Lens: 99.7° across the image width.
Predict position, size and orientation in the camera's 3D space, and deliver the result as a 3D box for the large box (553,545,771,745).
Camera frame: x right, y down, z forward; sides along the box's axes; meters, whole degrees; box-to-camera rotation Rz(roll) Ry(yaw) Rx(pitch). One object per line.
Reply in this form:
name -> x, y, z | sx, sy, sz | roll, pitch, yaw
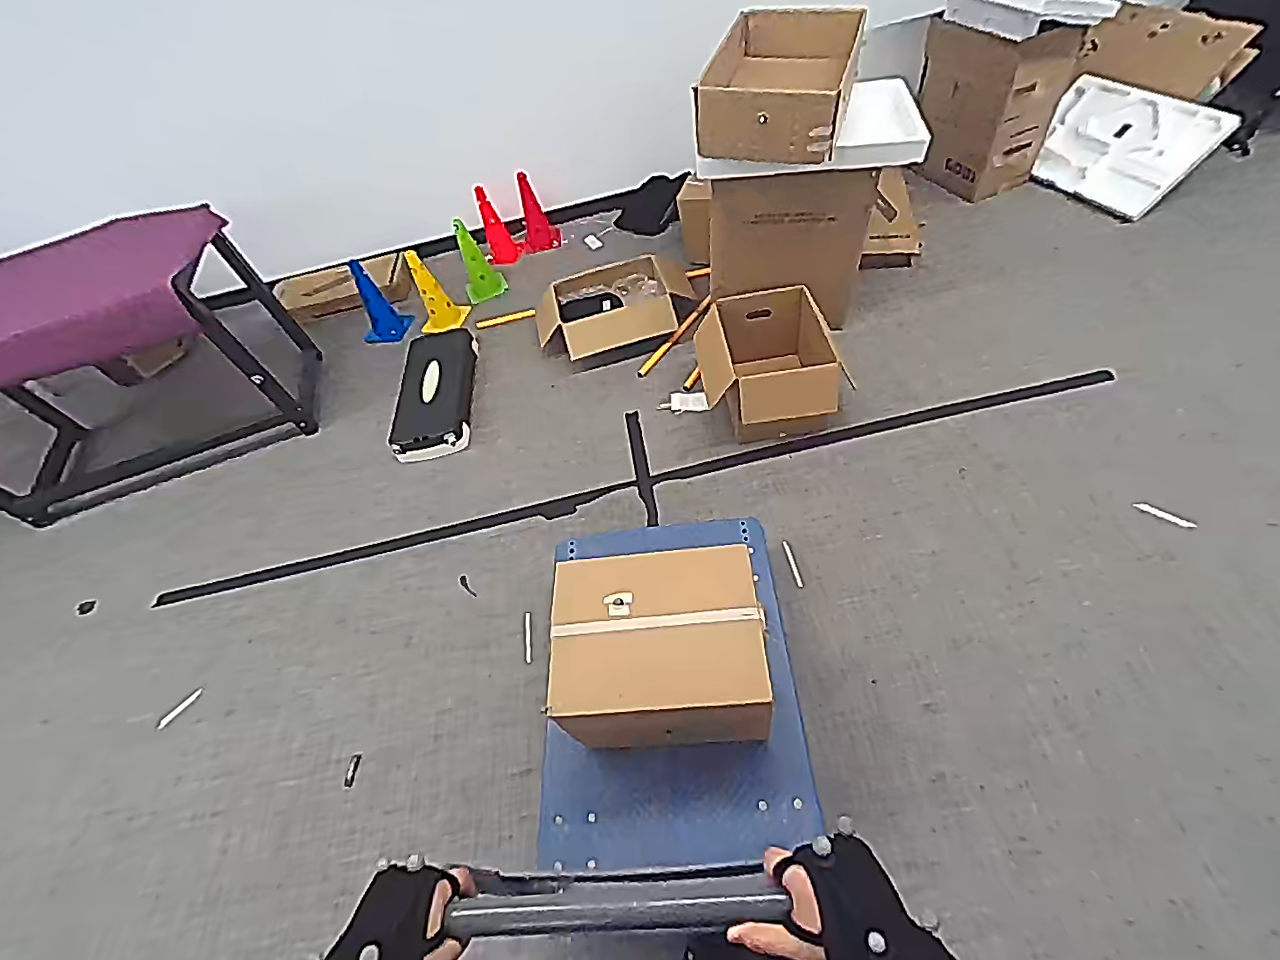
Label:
large box -> 0.054, 0.371, 1.177 | 0.408, 0.320, 0.320 | -8, 52, 7
